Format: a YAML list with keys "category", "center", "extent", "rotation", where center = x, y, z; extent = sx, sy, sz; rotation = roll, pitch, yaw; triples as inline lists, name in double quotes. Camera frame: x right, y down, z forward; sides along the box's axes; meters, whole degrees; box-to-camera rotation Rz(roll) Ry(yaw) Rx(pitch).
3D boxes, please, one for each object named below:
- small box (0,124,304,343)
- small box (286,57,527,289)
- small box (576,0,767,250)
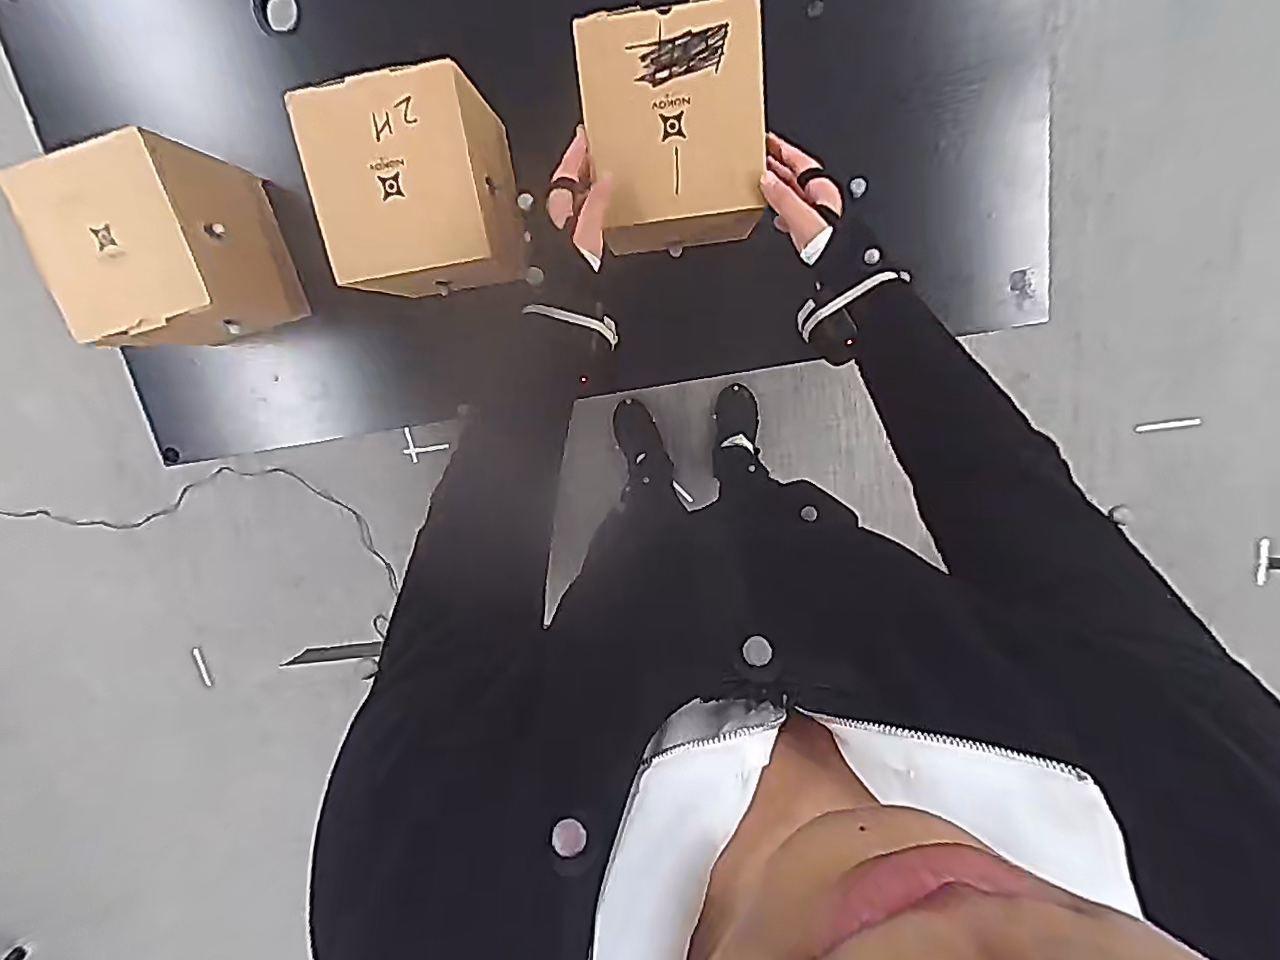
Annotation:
- category: "small box"
  center: [-0.537, -0.265, 0.626]
  extent: [0.168, 0.176, 0.179]
  rotation: [-14, 102, 5]
- category: "small box"
  center: [-0.235, -0.312, 0.595]
  extent: [0.168, 0.176, 0.179]
  rotation: [-8, 104, 4]
- category: "small box"
  center: [0.034, -0.355, 0.568]
  extent: [0.168, 0.176, 0.179]
  rotation: [-5, 105, 5]
